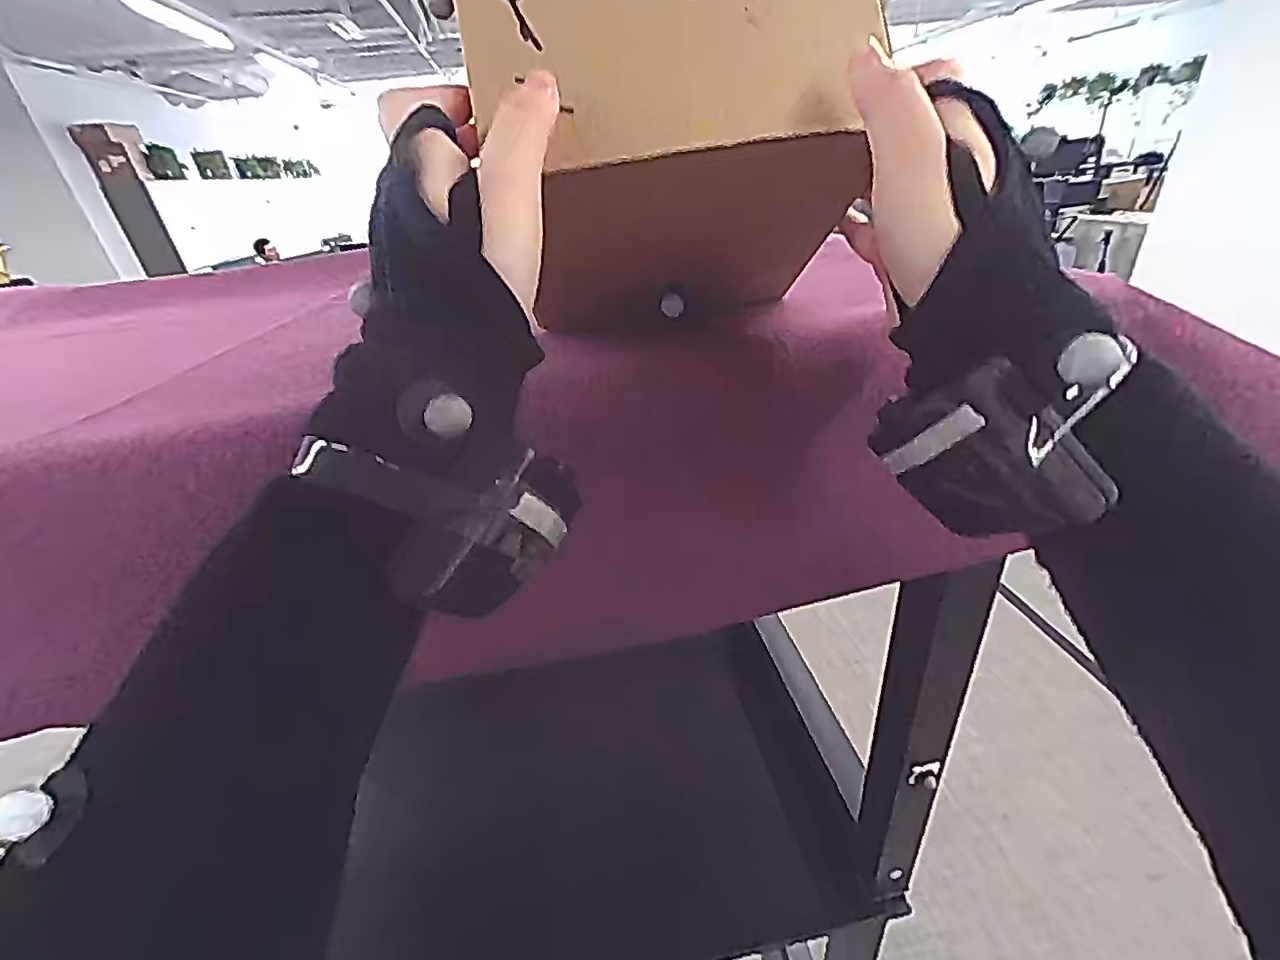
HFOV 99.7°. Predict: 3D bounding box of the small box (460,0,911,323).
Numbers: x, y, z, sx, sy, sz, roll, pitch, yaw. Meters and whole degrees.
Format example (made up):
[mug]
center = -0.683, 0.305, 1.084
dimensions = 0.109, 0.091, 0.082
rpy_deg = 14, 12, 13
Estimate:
[small box]
center = 0.008, -0.202, 0.296
dimensions = 0.179, 0.168, 0.176
rpy_deg = -10, -4, -4
